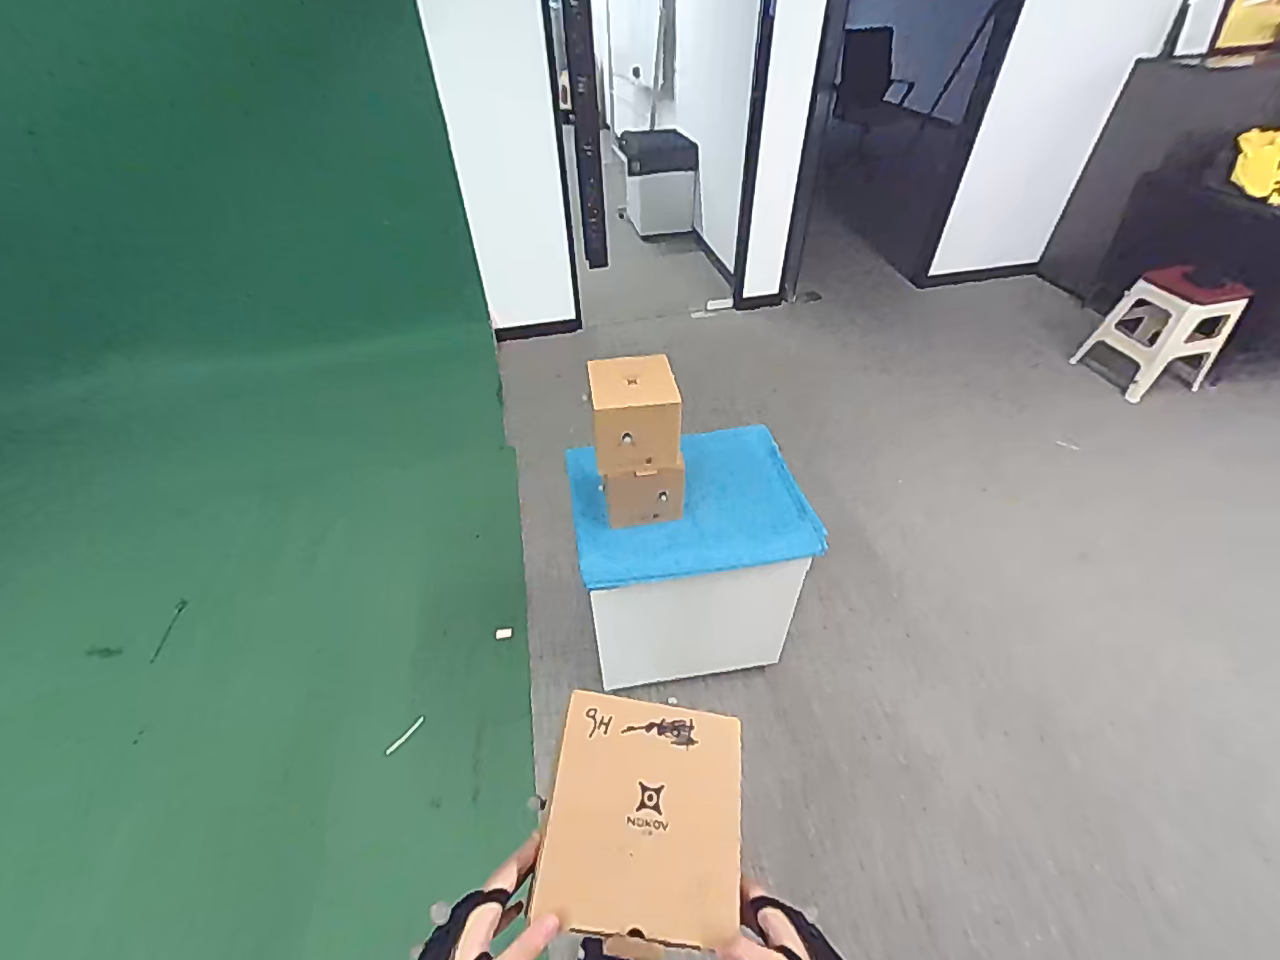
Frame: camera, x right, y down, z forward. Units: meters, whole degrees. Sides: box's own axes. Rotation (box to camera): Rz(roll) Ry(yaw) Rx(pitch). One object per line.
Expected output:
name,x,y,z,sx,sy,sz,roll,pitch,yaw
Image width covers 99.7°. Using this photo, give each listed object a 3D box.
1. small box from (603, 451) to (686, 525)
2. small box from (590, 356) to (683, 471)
small box,0.004,-0.013,1.211,0.168,0.176,0.179,-6,43,-7
small box,-0.009,-0.130,1.098,0.168,0.176,0.179,-6,42,-6
